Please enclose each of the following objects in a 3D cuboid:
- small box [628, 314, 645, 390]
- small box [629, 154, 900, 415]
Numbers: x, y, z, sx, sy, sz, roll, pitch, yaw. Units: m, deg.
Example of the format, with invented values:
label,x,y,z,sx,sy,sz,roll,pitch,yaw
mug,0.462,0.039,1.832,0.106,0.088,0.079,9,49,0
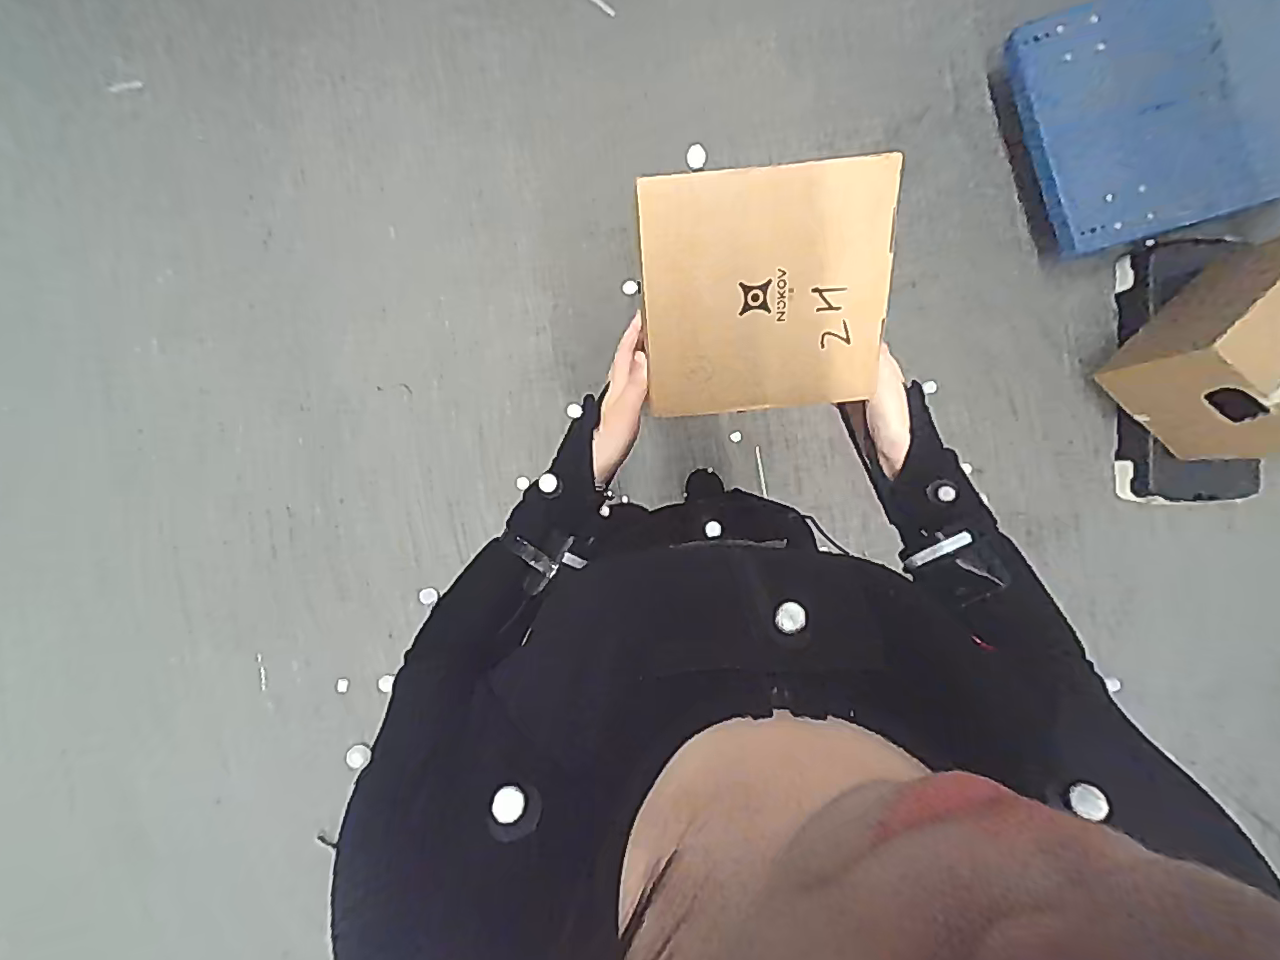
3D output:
label,x,y,z,sx,sy,sz,roll,pitch,yaw
small box,0.066,-0.339,1.428,0.168,0.176,0.179,-8,90,2
small box,0.084,-0.165,0.453,0.179,0.176,0.168,-6,118,0
